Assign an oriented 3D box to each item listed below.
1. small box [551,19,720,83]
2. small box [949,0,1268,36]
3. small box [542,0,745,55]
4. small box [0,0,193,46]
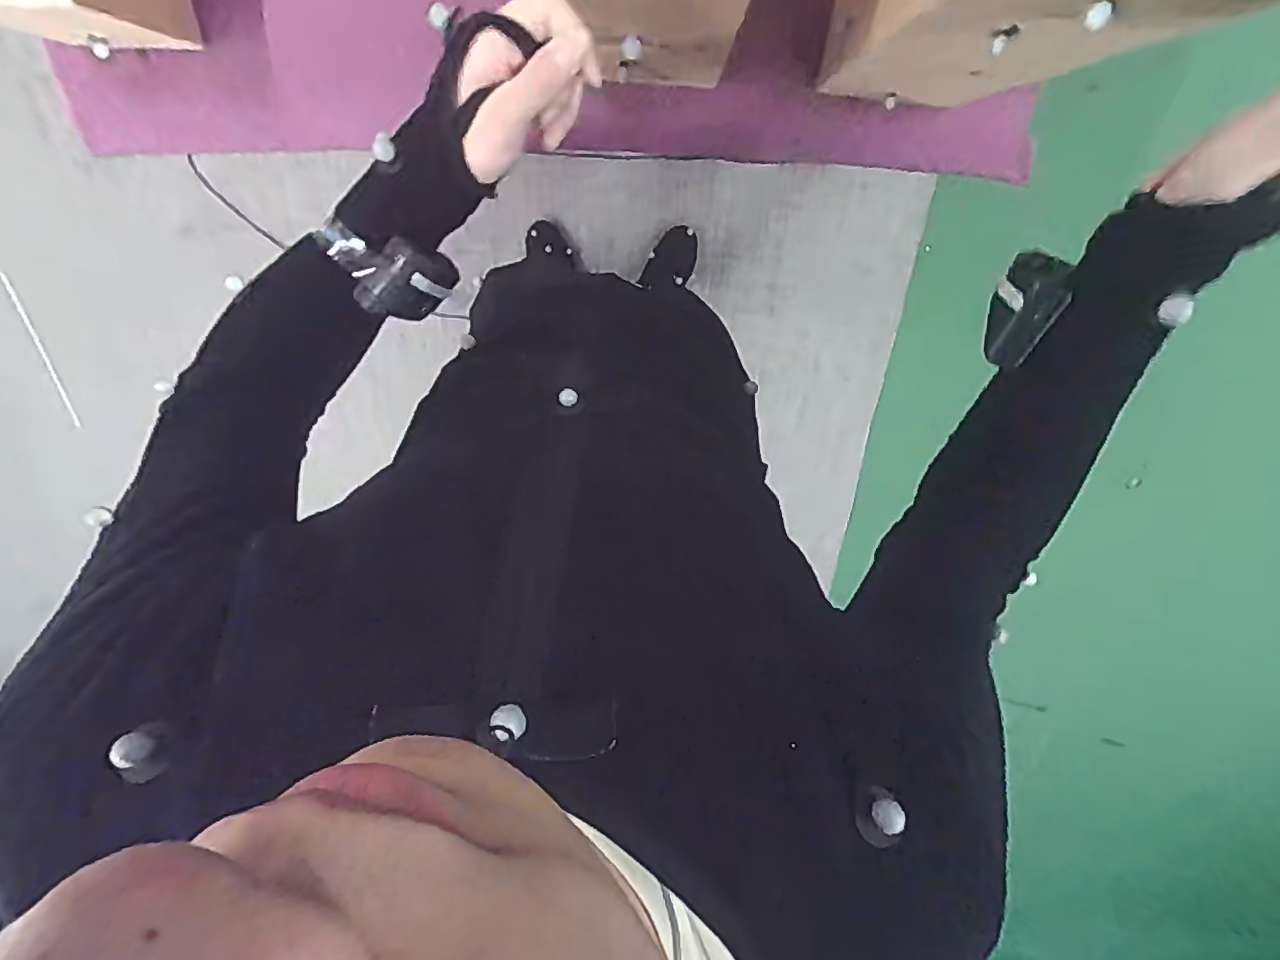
[{"bbox_3d":[0.009,-0.522,0.543,0.168,0.176,0.179,5,117,1],"label":"small box"},{"bbox_3d":[0.275,-0.343,0.247,0.168,0.176,0.179,8,119,0],"label":"small box"},{"bbox_3d":[0.002,-0.447,0.397,0.168,0.176,0.179,5,118,1],"label":"small box"},{"bbox_3d":[-0.616,-0.573,0.547,0.168,0.176,0.179,3,118,2],"label":"small box"}]
